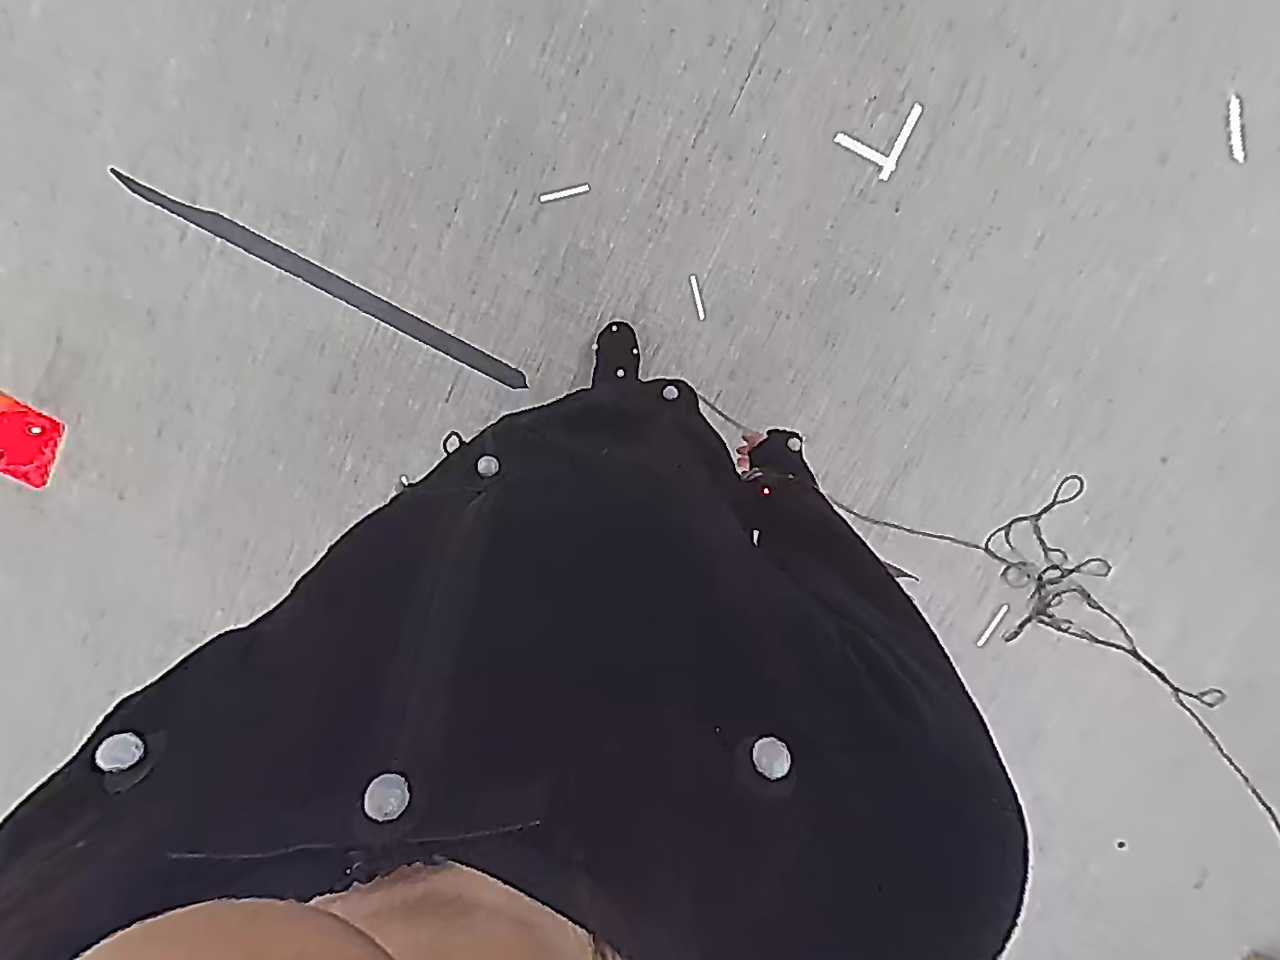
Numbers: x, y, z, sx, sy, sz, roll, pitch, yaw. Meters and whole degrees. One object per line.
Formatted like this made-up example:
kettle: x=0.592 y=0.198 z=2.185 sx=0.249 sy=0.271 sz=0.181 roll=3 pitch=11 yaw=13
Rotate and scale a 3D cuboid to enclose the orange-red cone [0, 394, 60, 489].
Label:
orange-red cone: x=-1.570 y=-0.065 z=1.180 sx=0.199 sy=0.360 sz=0.198 roll=30 pitch=99 yaw=-6
